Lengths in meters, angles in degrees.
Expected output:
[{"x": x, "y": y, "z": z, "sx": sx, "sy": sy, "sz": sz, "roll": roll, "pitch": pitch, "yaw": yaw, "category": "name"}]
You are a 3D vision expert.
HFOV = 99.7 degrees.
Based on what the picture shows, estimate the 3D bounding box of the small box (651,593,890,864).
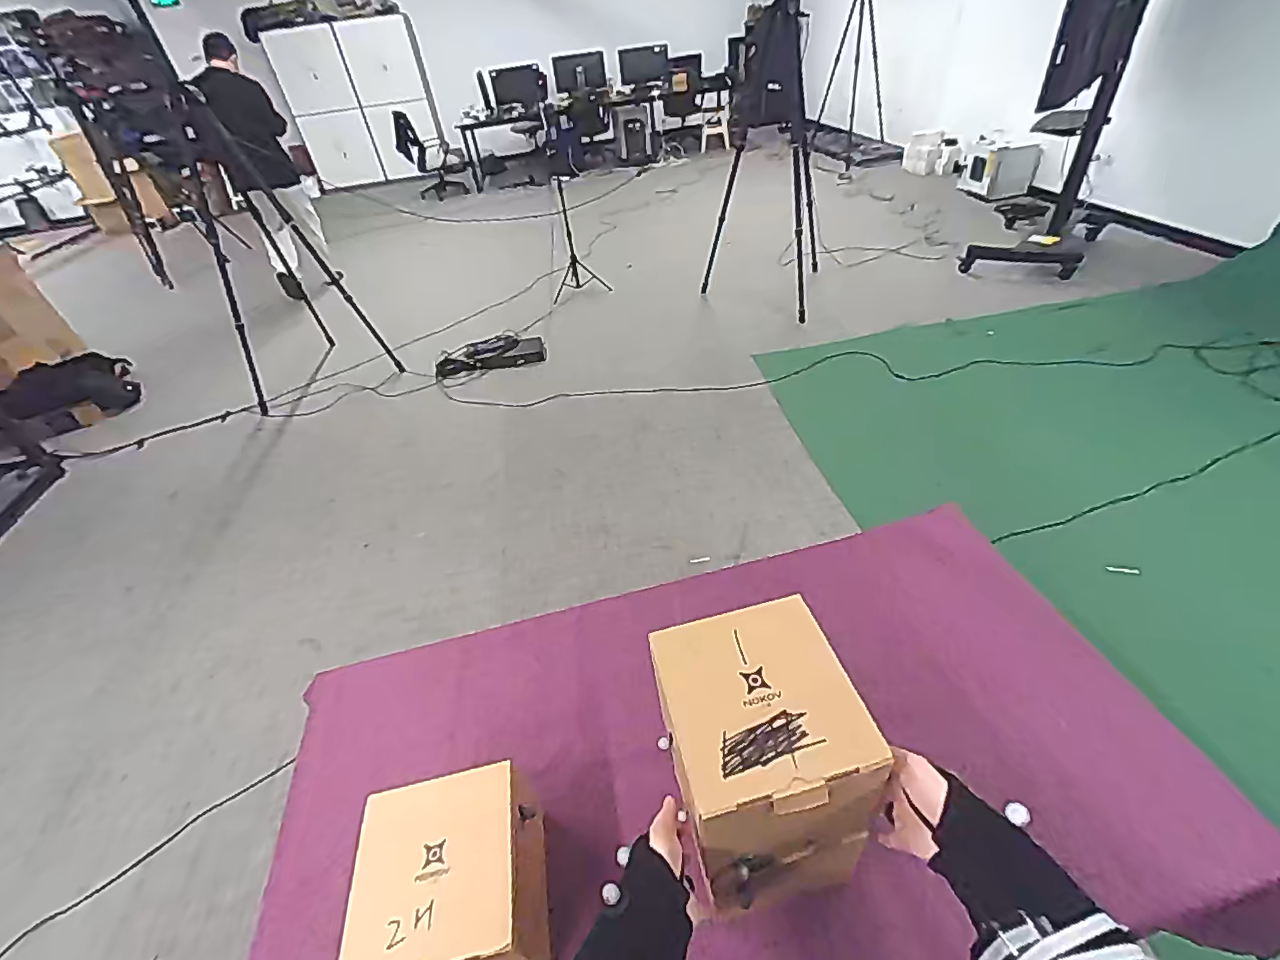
[{"x": 0.117, "y": 0.249, "z": 0.539, "sx": 0.168, "sy": 0.176, "sz": 0.179, "roll": -13, "pitch": 38, "yaw": -5, "category": "small box"}]

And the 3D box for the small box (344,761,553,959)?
[{"x": -0.199, "y": 0.457, "z": 0.608, "sx": 0.168, "sy": 0.176, "sz": 0.179, "roll": -13, "pitch": 40, "yaw": -4, "category": "small box"}]
